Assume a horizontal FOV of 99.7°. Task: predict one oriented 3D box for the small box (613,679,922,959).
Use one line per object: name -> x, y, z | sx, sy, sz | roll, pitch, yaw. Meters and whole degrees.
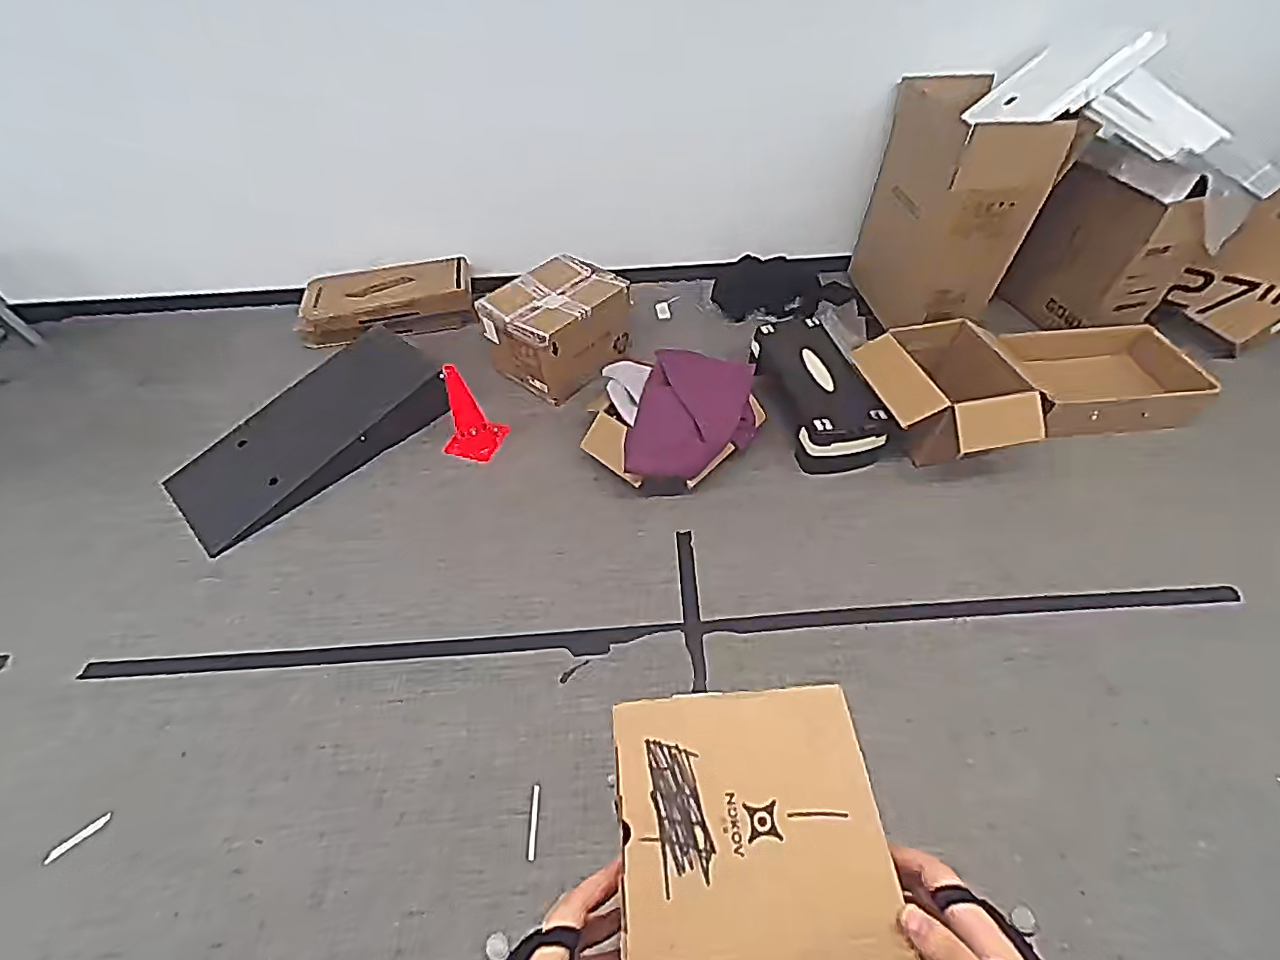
small box -> 0.073, 0.267, 0.418 | 0.179, 0.176, 0.168 | -3, 53, -2
